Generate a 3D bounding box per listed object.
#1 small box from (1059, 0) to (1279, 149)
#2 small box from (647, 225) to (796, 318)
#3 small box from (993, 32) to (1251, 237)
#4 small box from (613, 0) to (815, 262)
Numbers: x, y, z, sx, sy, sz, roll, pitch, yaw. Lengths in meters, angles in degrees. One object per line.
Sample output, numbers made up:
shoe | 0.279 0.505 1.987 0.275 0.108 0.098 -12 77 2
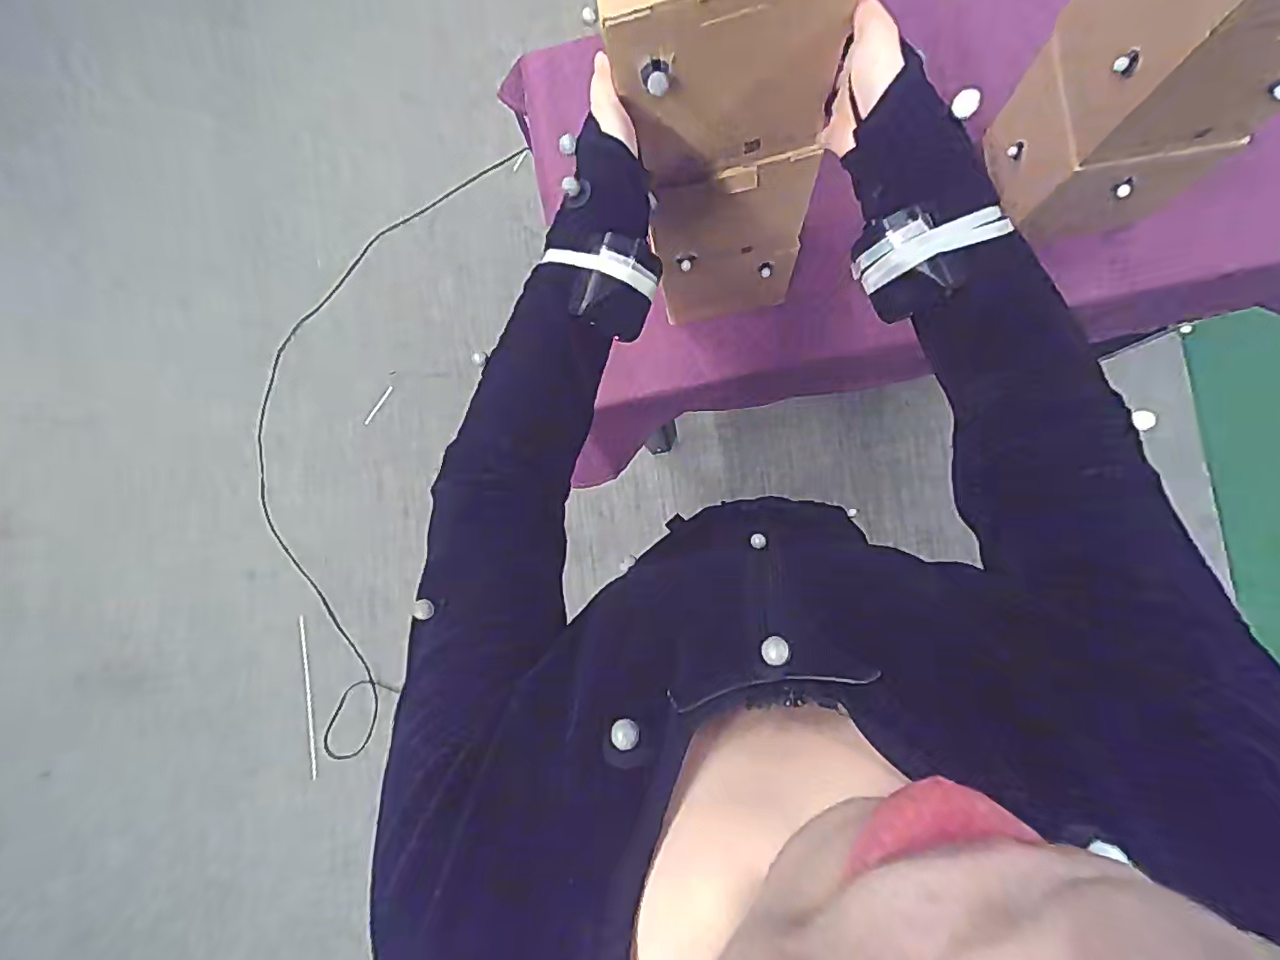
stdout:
small box | 0.542 -0.448 0.511 0.168 0.176 0.179 -5 84 8
small box | 0.104 -0.339 0.739 0.179 0.176 0.168 -9 84 7
small box | 0.569 -0.426 0.670 0.179 0.176 0.168 -5 85 9
small box | 0.078 -0.356 0.578 0.168 0.176 0.179 -10 83 7
